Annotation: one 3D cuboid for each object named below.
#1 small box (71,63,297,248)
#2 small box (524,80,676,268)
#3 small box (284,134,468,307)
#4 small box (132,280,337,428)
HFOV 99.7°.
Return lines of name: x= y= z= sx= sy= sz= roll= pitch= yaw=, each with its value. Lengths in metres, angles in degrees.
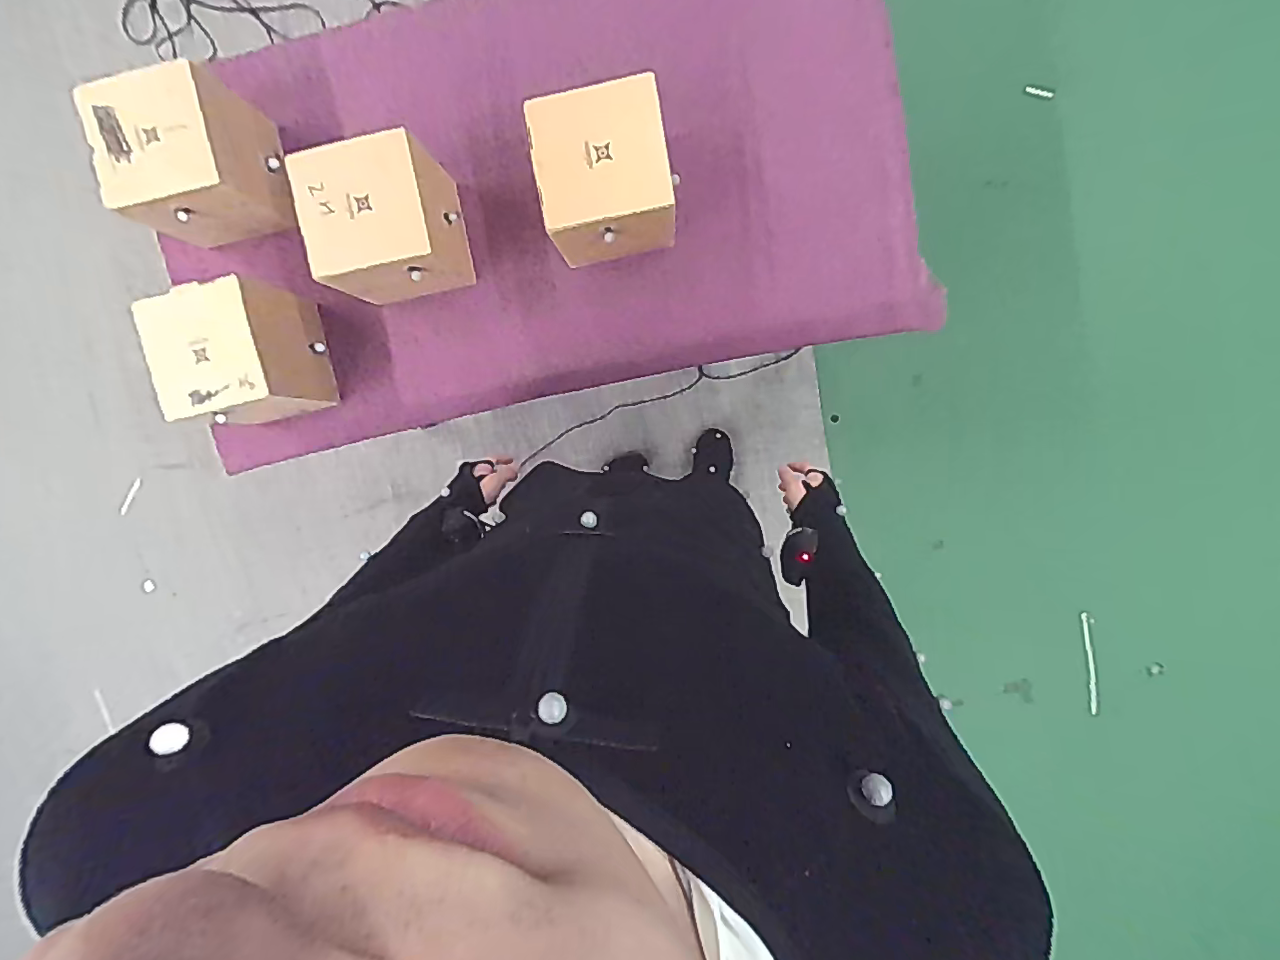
small box: x=-0.664 y=-0.467 z=0.808 sx=0.179 sy=0.176 sz=0.168 roll=-11 pitch=96 yaw=4
small box: x=-0.046 y=-0.422 z=0.775 sx=0.179 sy=0.176 sz=0.168 roll=-10 pitch=96 yaw=6
small box: x=-0.371 y=-0.368 z=0.800 sx=0.179 sy=0.176 sz=0.168 roll=-10 pitch=95 yaw=5
small box: x=-0.609 y=-0.182 z=0.835 sx=0.168 sy=0.176 sz=0.179 roll=-12 pitch=94 yaw=5
